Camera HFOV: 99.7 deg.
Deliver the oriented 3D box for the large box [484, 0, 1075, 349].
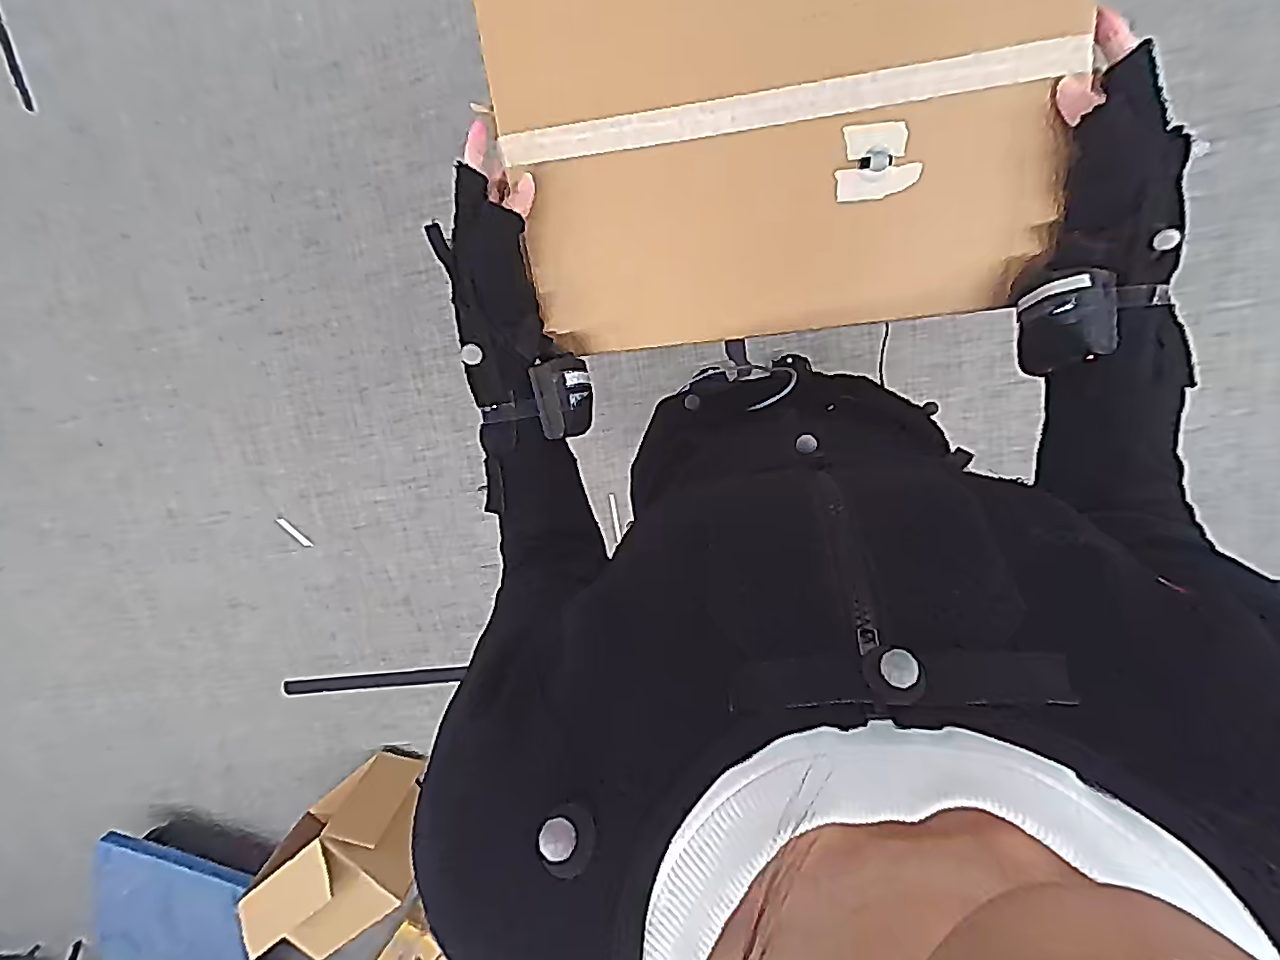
[{"bbox_3d":[0.106,-0.328,0.532,0.408,0.320,0.320,-6,111,6],"label":"large box"}]
